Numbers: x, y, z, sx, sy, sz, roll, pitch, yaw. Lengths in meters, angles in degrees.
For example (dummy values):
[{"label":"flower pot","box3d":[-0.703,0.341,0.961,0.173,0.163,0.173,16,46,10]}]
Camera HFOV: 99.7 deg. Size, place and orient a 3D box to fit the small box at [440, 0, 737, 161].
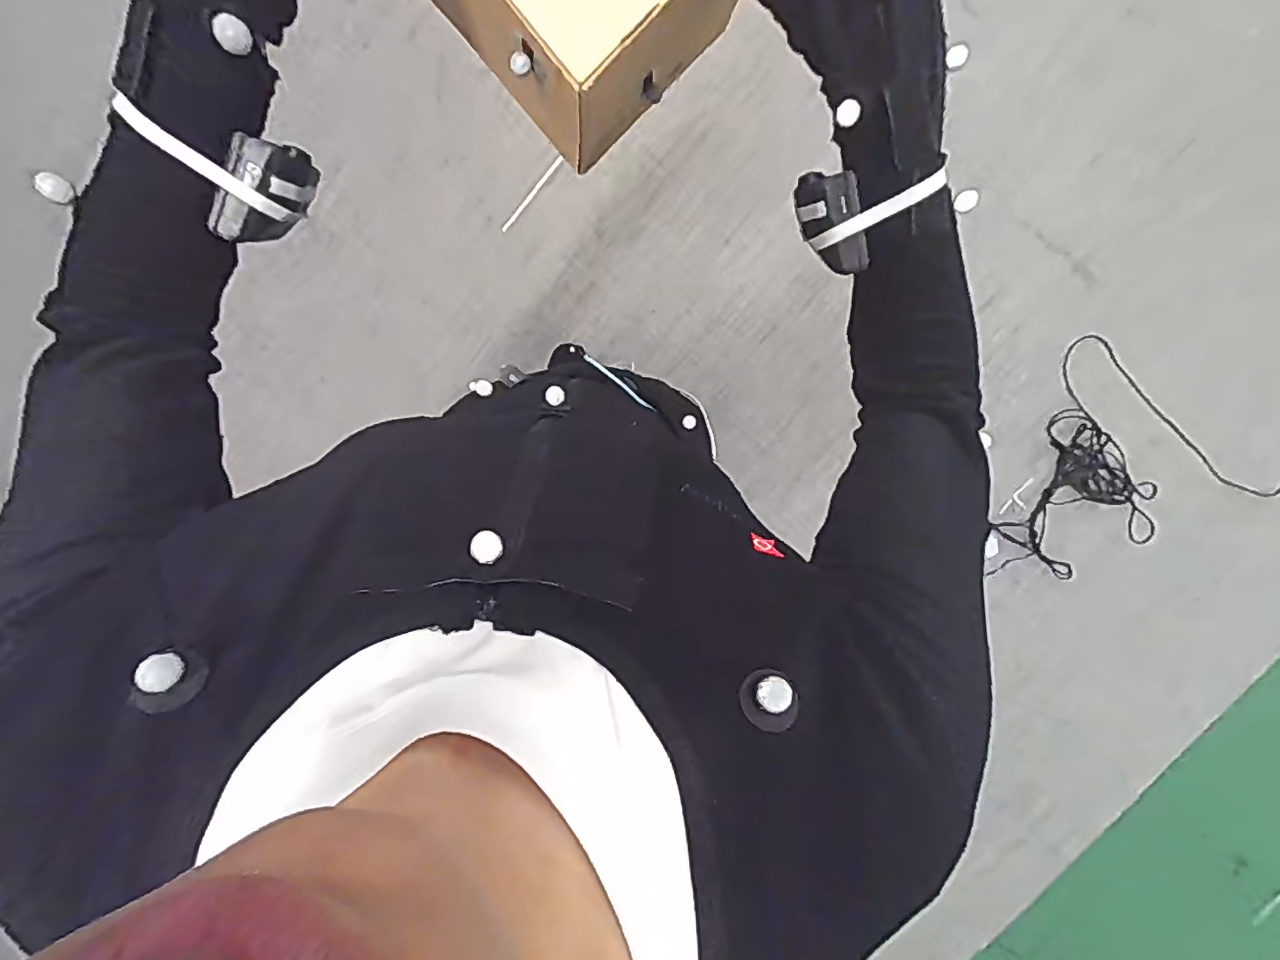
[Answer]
[{"label":"small box","box3d":[-0.039,-0.354,0.353,0.168,0.176,0.179,-42,108,4]}]
